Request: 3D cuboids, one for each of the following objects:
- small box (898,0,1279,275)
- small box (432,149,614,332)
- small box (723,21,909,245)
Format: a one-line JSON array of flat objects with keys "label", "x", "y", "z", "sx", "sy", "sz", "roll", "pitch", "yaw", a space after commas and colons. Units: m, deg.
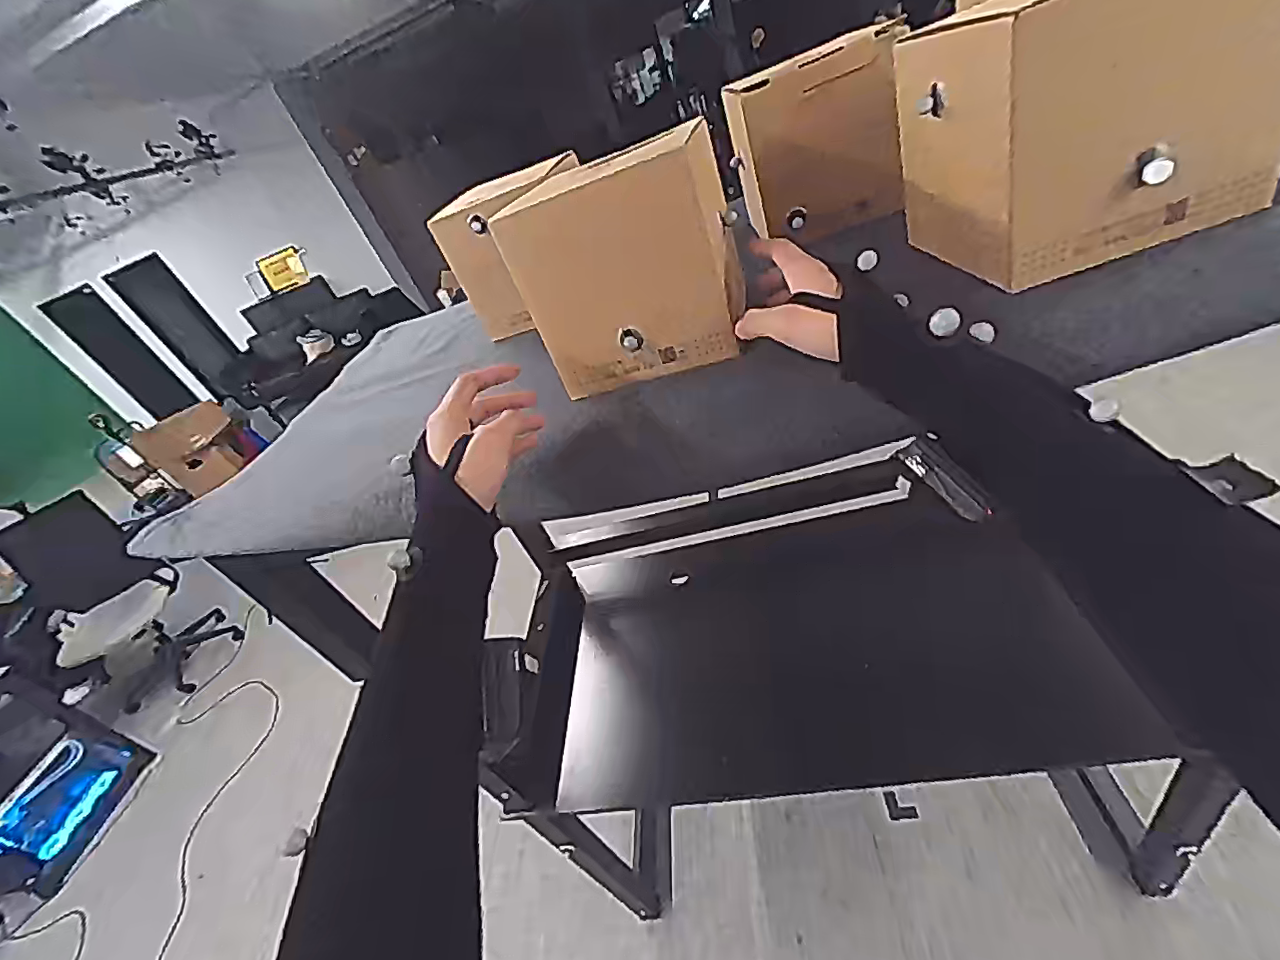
[{"label": "small box", "x": 0.312, "y": -0.273, "z": 0.403, "sx": 0.168, "sy": 0.176, "sz": 0.179, "roll": -17, "pitch": 33, "yaw": 11}, {"label": "small box", "x": -0.147, "y": -0.331, "z": 0.755, "sx": 0.168, "sy": 0.176, "sz": 0.179, "roll": -12, "pitch": 36, "yaw": 18}, {"label": "small box", "x": 0.206, "y": -0.401, "z": 0.642, "sx": 0.168, "sy": 0.176, "sz": 0.179, "roll": -15, "pitch": 35, "yaw": 12}]
